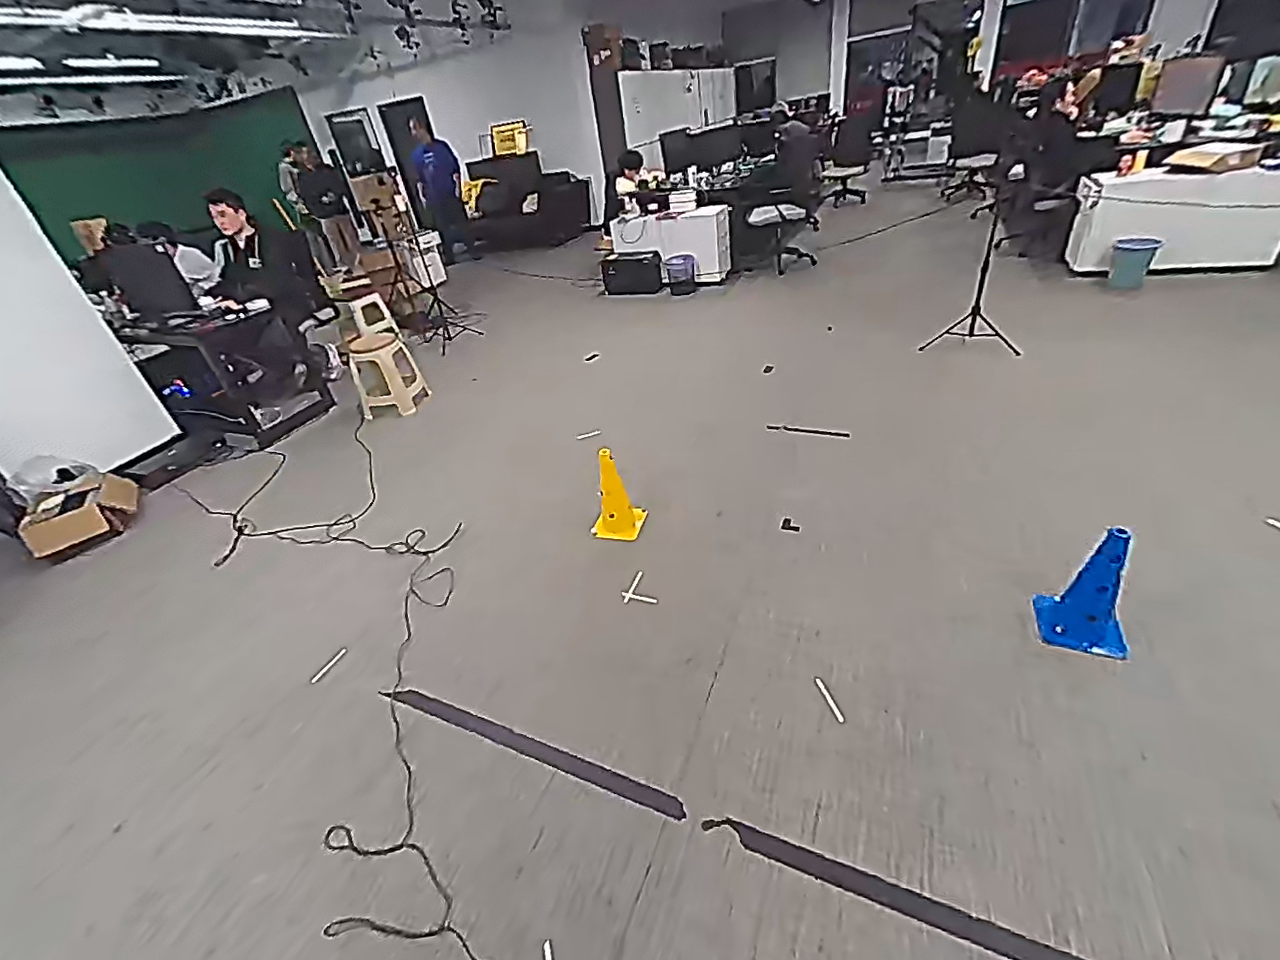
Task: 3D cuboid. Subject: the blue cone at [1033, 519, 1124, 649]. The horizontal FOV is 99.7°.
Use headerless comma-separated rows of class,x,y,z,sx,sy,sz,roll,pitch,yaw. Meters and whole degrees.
blue cone,1.249,0.272,1.487,0.193,0.380,0.192,8,37,25
